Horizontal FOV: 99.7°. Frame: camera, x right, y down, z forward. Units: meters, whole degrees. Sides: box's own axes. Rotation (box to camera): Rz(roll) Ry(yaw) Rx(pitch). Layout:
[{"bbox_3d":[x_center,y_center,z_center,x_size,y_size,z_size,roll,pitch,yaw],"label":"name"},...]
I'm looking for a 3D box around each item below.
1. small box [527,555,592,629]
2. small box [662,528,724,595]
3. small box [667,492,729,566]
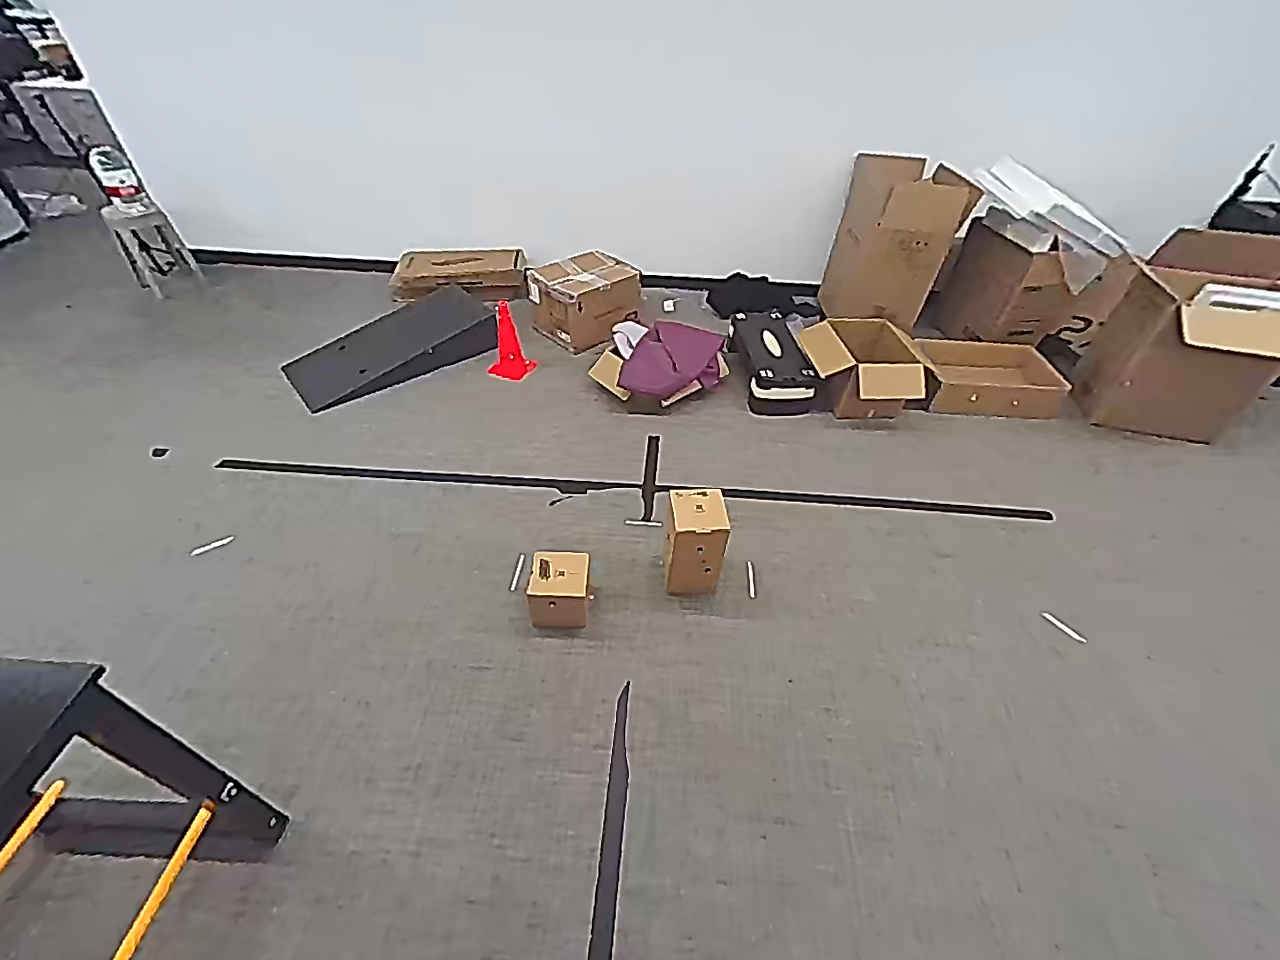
[{"bbox_3d":[-0.248,0.355,1.707,0.179,0.176,0.168,2,43,-1],"label":"small box"},{"bbox_3d":[0.173,0.273,1.817,0.179,0.176,0.168,0,43,-3],"label":"small box"},{"bbox_3d":[0.176,0.159,1.699,0.168,0.176,0.179,-1,44,-4],"label":"small box"}]
